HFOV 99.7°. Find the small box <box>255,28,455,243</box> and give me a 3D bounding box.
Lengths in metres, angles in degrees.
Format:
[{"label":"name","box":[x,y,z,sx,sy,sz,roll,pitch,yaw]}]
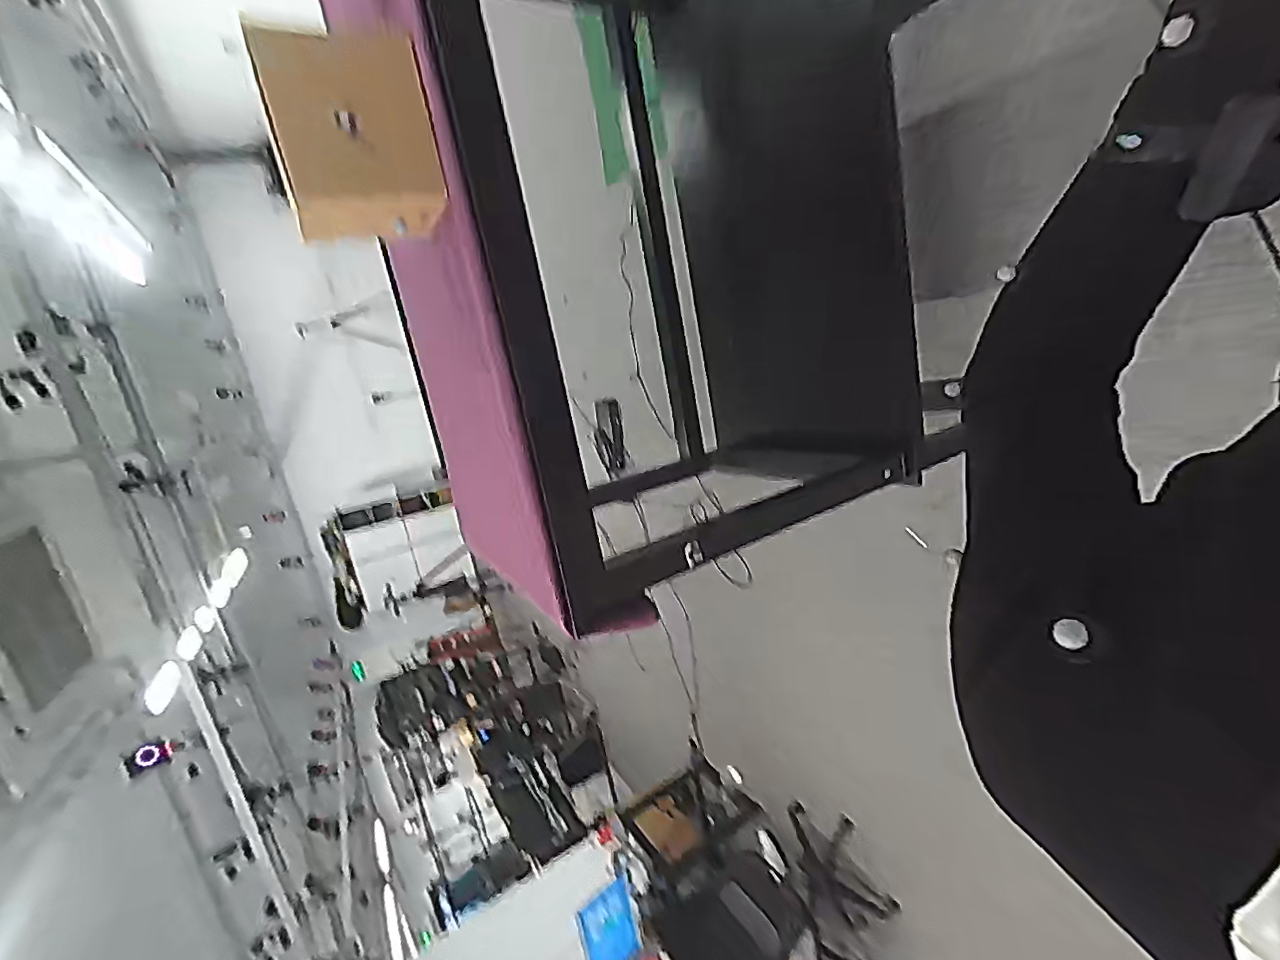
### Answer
[{"label":"small box","box":[-0.350,-0.414,0.680,0.168,0.176,0.179,12,117,60]}]
